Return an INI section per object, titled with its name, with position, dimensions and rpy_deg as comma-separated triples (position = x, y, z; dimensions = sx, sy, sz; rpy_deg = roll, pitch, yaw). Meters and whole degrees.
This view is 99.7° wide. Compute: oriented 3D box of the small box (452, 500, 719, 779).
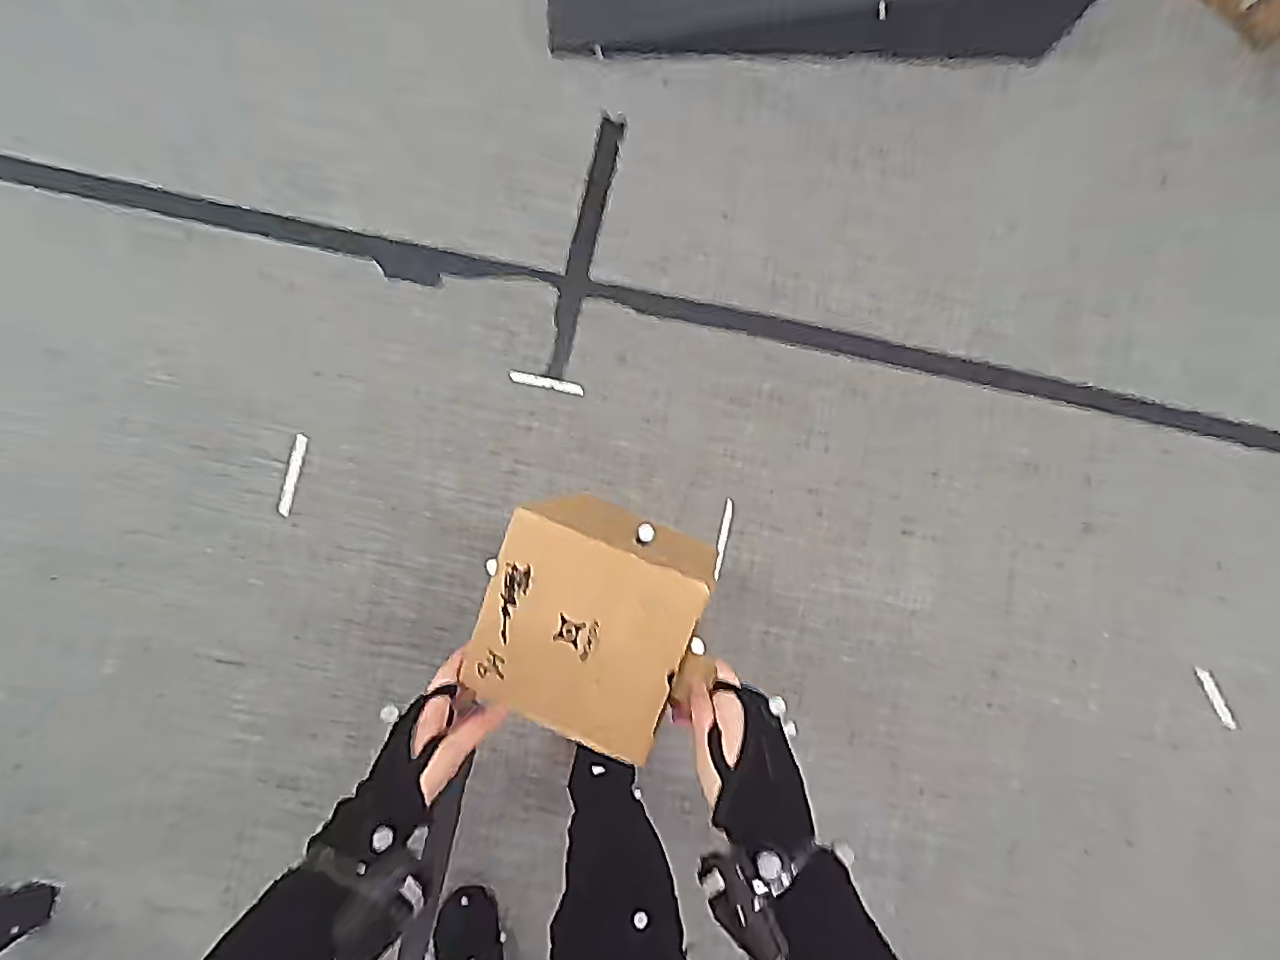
[small box]
position = -0.035, 0.125, 0.504
dimensions = 0.179, 0.176, 0.168
rpy_deg = 22, 96, 7
